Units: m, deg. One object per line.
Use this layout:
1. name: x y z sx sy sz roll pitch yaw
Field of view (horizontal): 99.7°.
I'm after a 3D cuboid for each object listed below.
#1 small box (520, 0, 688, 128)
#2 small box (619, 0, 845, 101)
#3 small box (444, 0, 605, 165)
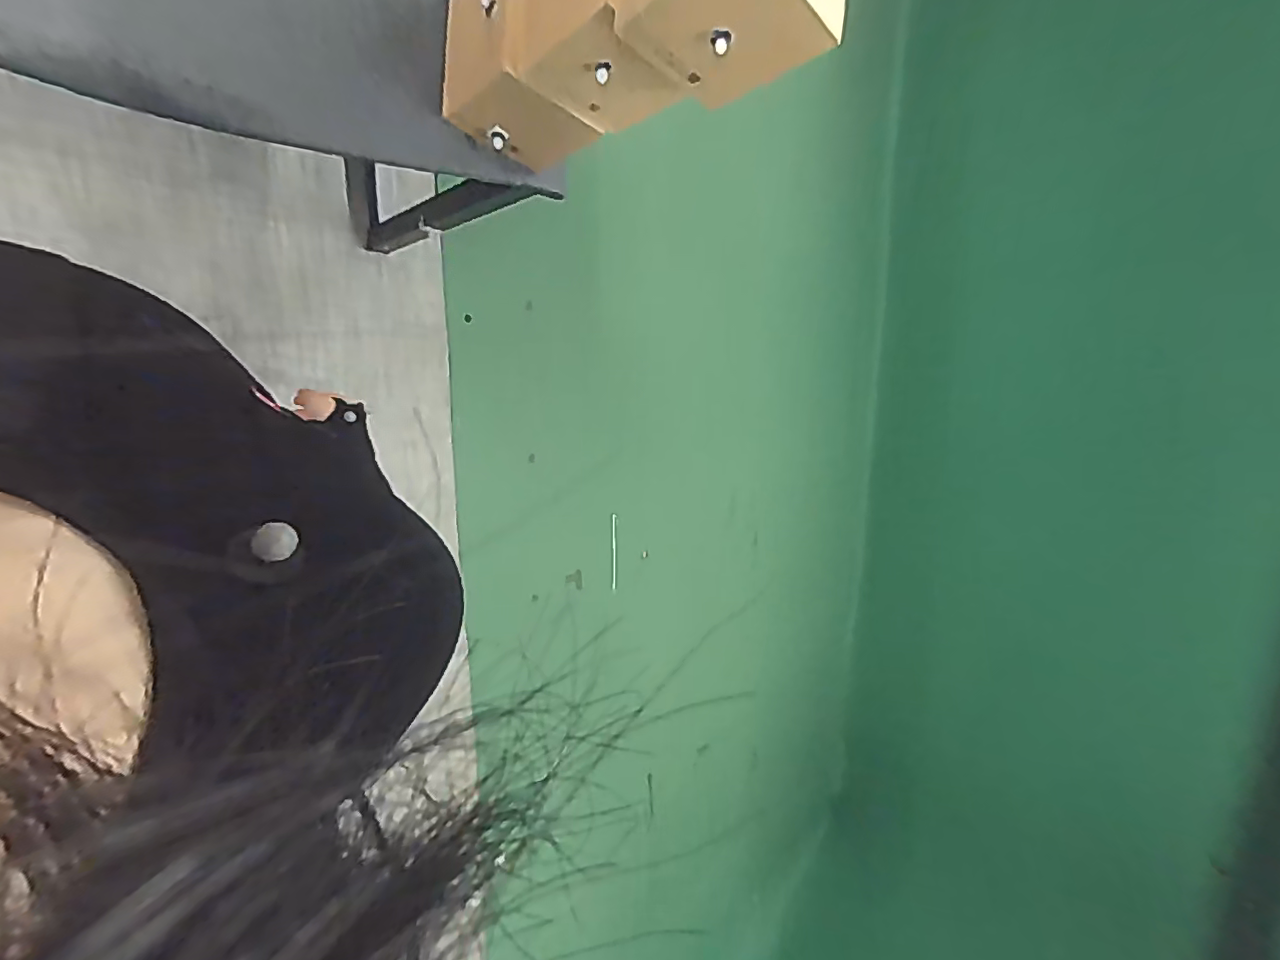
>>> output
1. small box: -0.030 -0.568 0.647 0.168 0.176 0.179 0 94 -45
2. small box: 0.092 -0.531 0.540 0.168 0.176 0.179 1 93 -46
3. small box: -0.156 -0.580 0.750 0.168 0.176 0.179 3 94 -45
